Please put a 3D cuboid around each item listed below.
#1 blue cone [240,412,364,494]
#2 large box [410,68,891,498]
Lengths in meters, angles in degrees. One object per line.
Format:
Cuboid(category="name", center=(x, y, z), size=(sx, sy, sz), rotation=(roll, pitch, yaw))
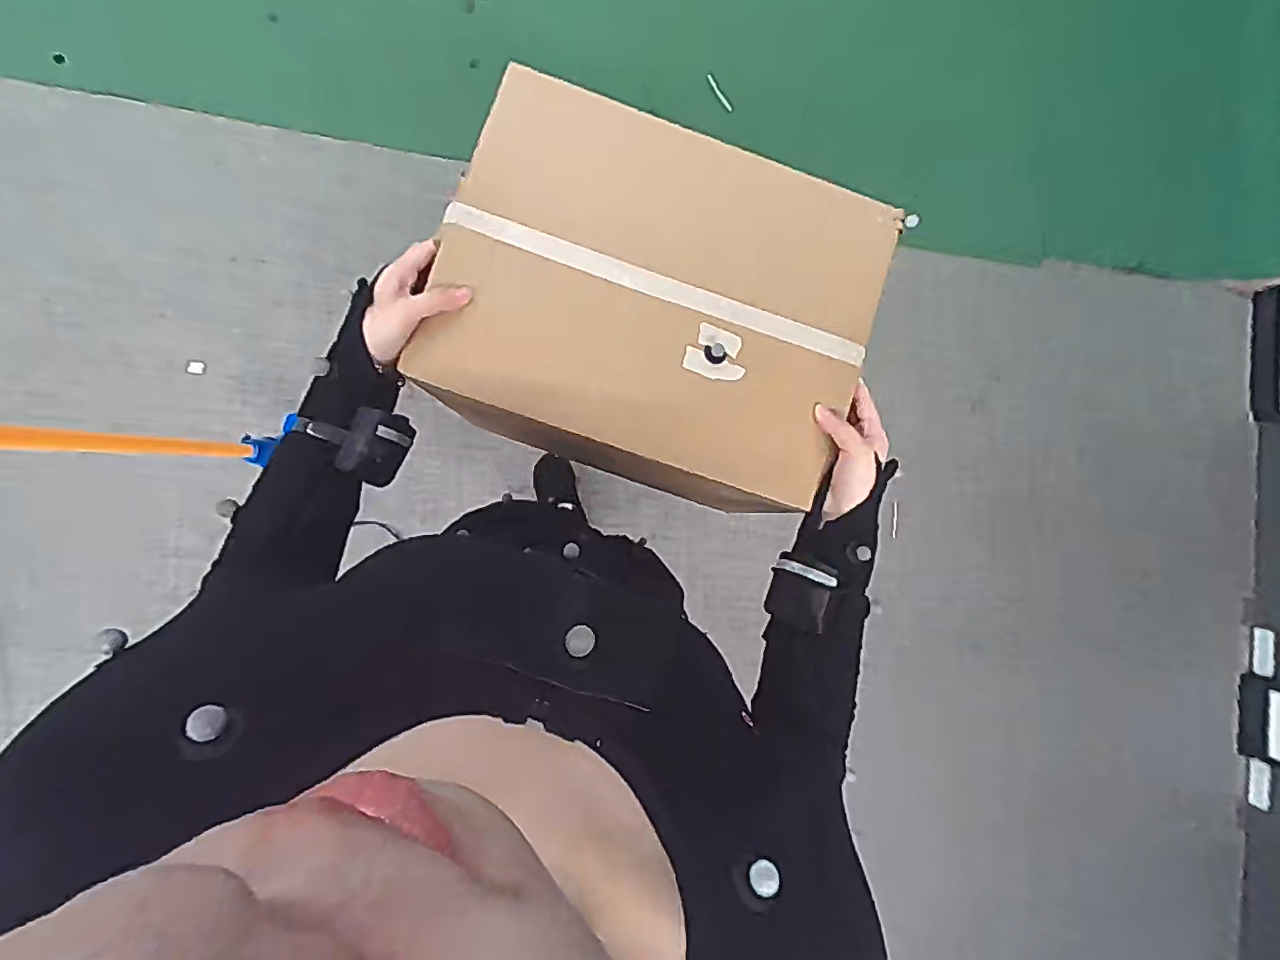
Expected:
Cuboid(category="blue cone", center=(-0.786, -0.072, 1.216), size=(0.193, 0.380, 0.192), rotation=(14, 86, -11))
Cuboid(category="large box", center=(0.006, -0.182, 0.660), size=(0.408, 0.320, 0.320), rotation=(18, 86, -5))
